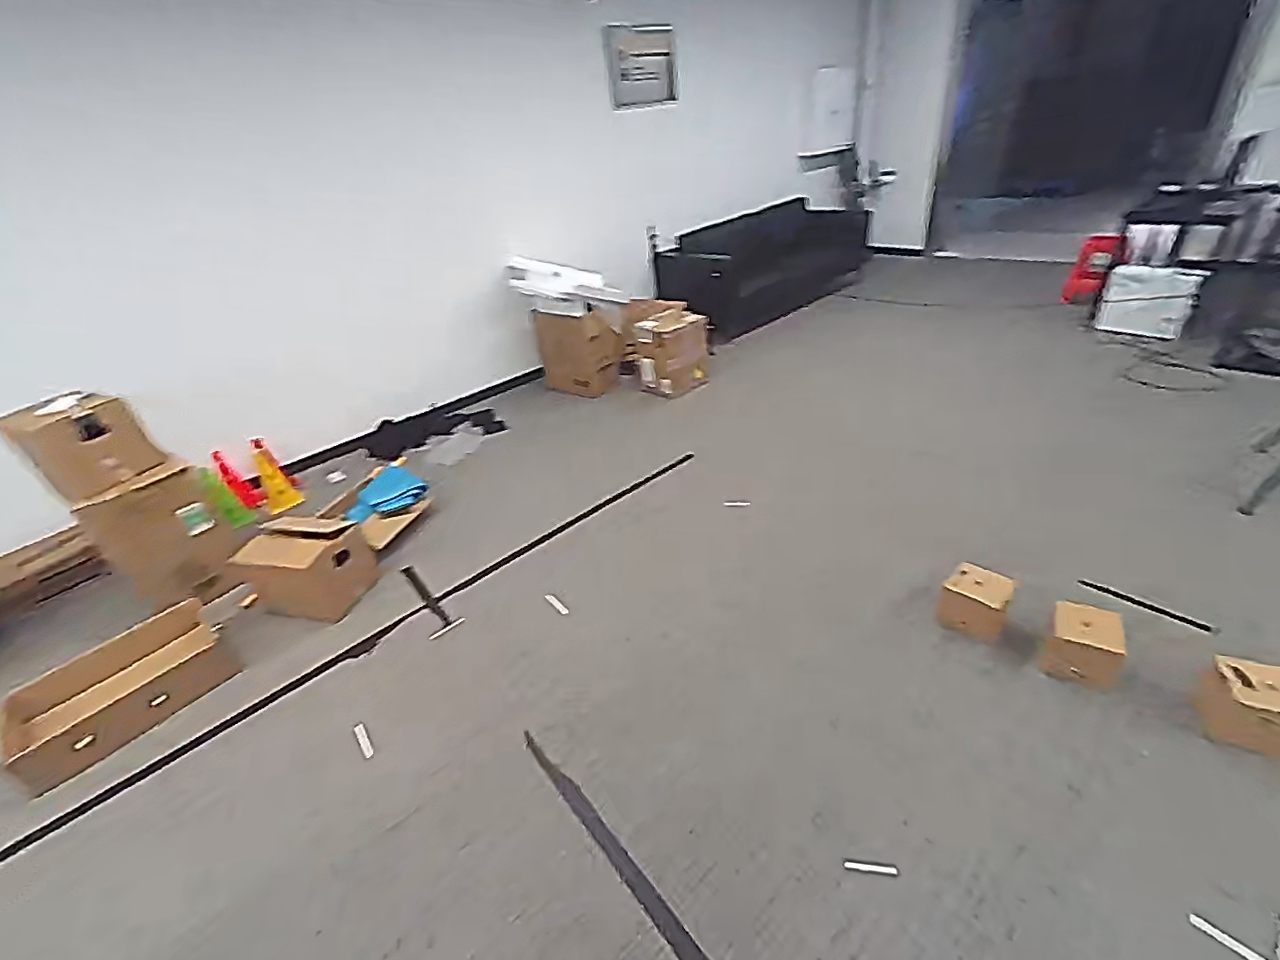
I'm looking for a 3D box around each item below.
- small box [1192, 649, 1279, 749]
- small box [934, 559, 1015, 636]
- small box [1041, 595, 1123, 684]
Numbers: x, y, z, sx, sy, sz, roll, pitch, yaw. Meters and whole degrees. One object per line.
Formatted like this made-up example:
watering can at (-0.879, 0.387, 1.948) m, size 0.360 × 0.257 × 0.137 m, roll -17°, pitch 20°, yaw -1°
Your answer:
small box at (1.650, 0.592, 1.459) m, size 0.179 × 0.176 × 0.168 m, roll 8°, pitch 36°, yaw 23°
small box at (1.155, 0.412, 1.875) m, size 0.168 × 0.176 × 0.179 m, roll -31°, pitch 38°, yaw -31°
small box at (1.371, 0.495, 1.688) m, size 0.168 × 0.176 × 0.179 m, roll 10°, pitch 37°, yaw 30°
